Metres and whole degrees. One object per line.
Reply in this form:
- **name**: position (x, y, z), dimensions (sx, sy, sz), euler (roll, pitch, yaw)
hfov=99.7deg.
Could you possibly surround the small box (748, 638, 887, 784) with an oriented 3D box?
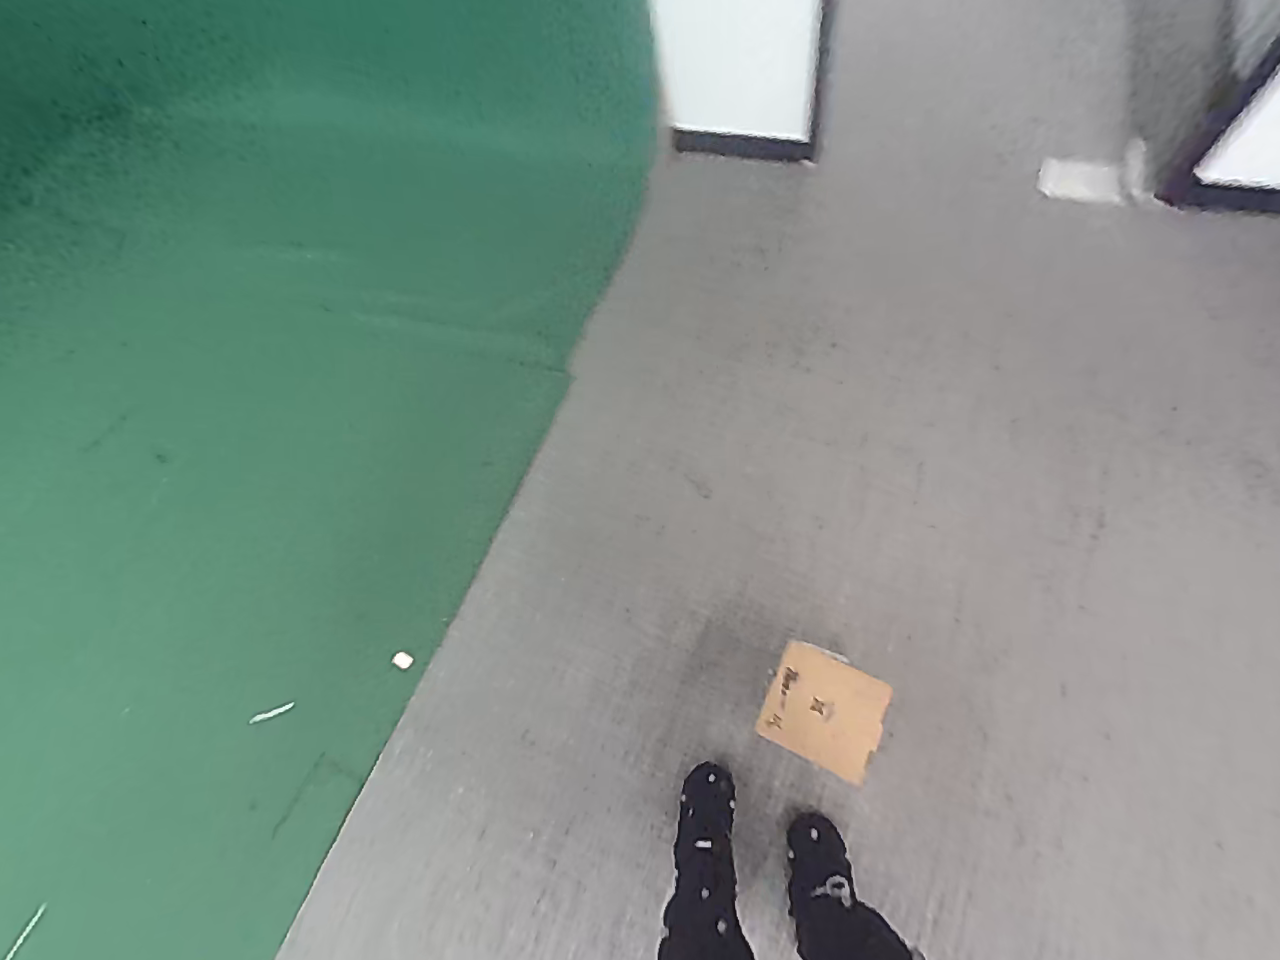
- **small box**: position (0.306, 0.402, 0.961), dimensions (0.179, 0.176, 0.168), euler (25, 75, 19)
